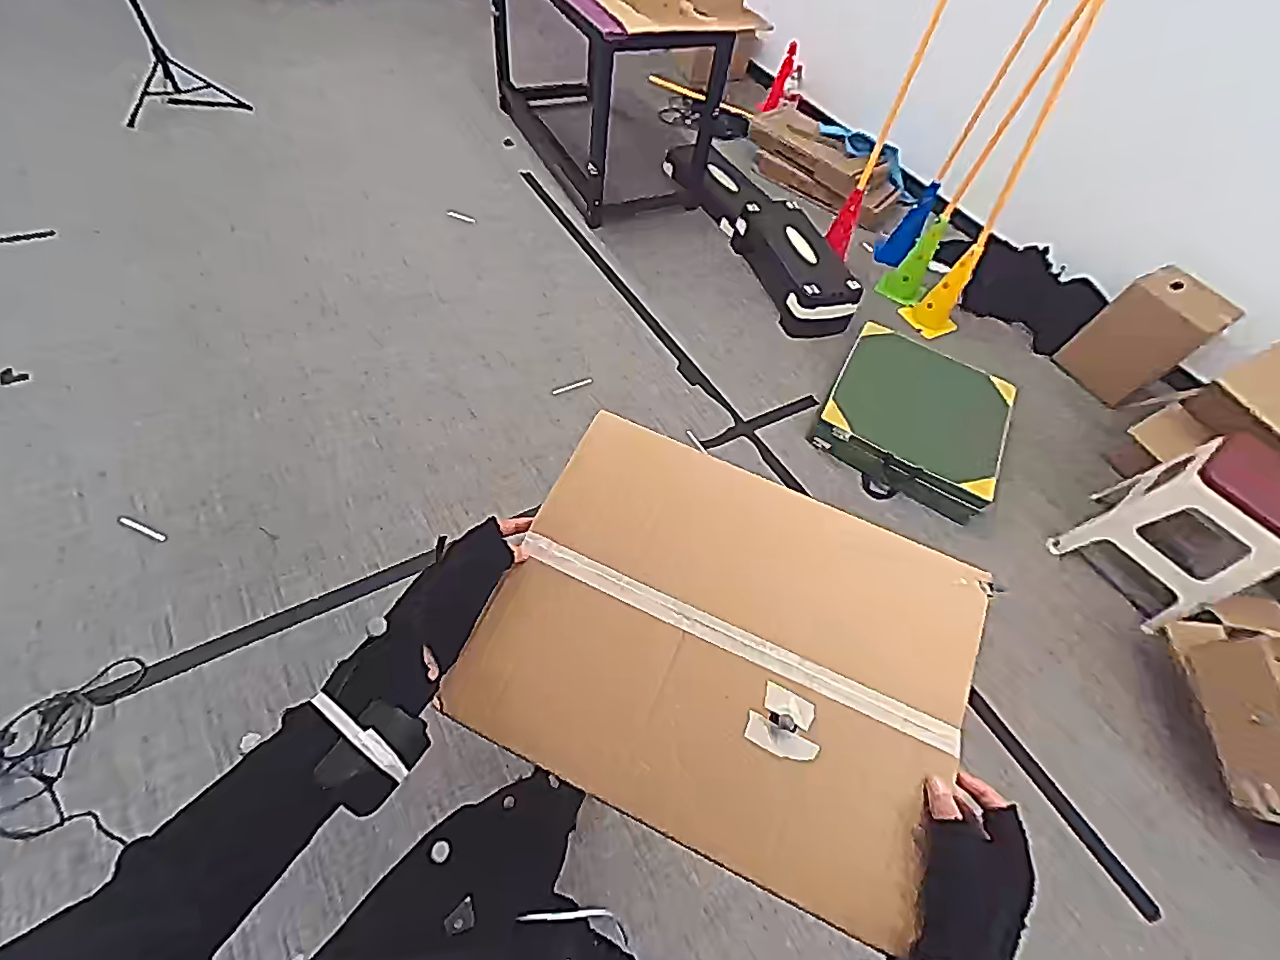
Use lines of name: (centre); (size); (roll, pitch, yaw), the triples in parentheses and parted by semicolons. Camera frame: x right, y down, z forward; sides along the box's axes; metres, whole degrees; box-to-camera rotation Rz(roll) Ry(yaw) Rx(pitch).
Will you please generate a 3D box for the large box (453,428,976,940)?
large box: (0.074, 0.204, 0.622); (0.408, 0.320, 0.320); (24, 68, 8)
